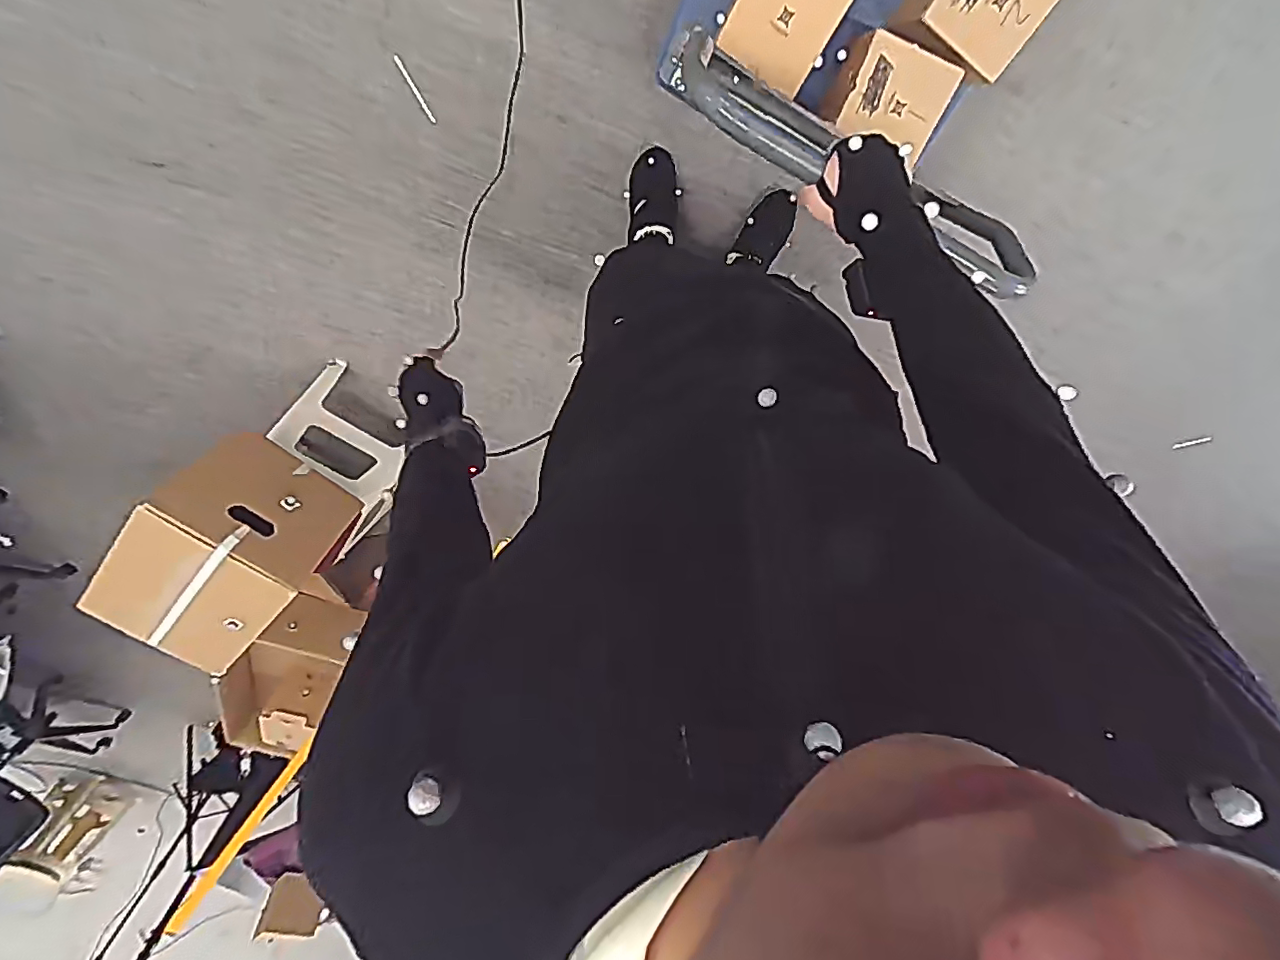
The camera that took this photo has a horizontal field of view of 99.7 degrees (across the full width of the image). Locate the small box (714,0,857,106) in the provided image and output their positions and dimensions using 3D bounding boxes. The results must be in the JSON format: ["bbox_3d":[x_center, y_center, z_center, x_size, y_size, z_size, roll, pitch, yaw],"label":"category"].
[{"bbox_3d":[0.244,-0.805,0.962,0.168,0.176,0.179,26,122,-15],"label":"small box"}]
